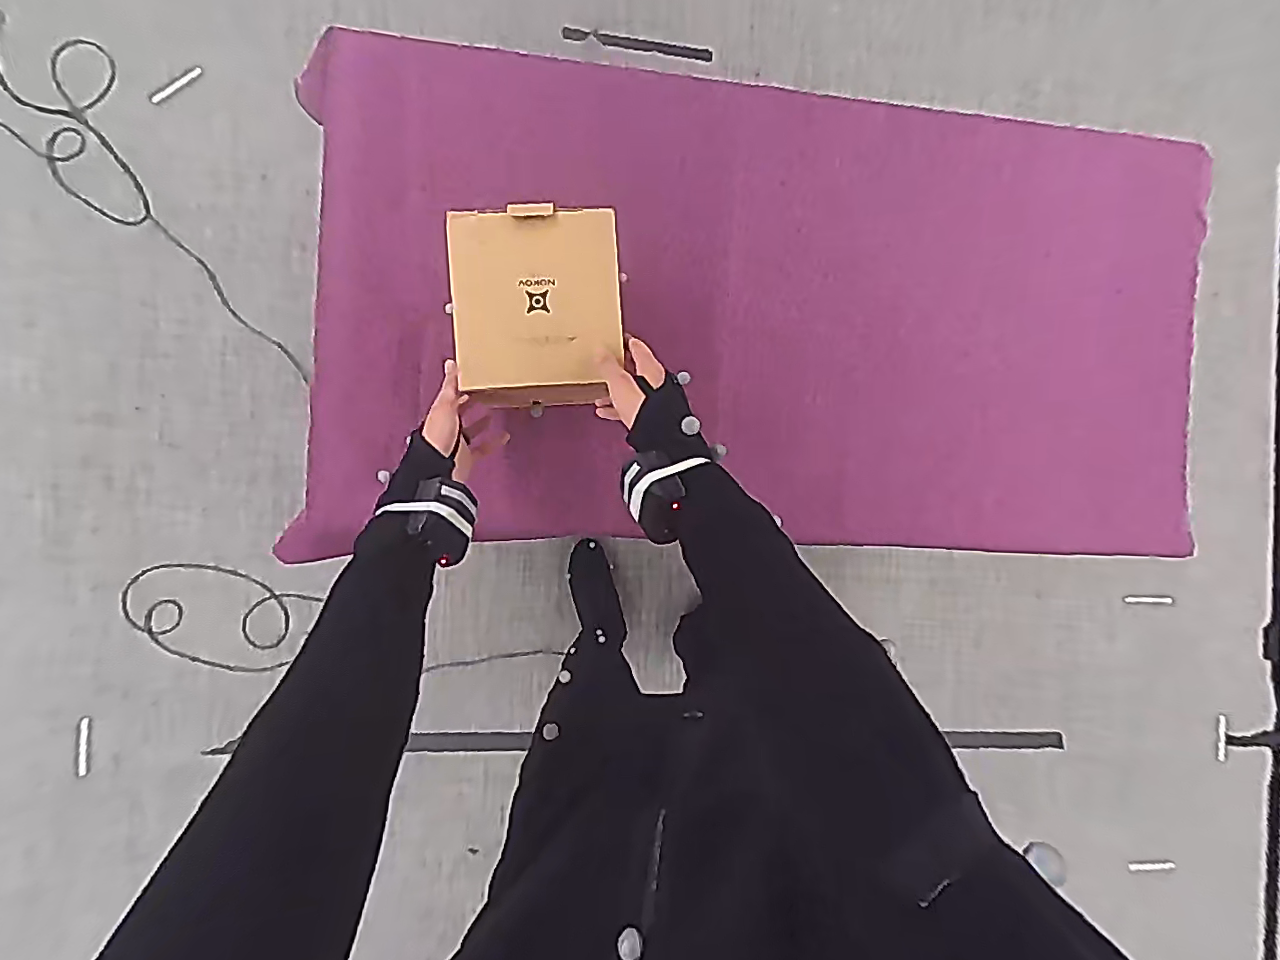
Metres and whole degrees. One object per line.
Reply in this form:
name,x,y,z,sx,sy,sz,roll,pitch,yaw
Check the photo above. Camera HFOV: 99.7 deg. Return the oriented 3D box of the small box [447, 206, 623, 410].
small box,-0.109,-0.178,0.603,0.168,0.176,0.179,-3,91,-6
